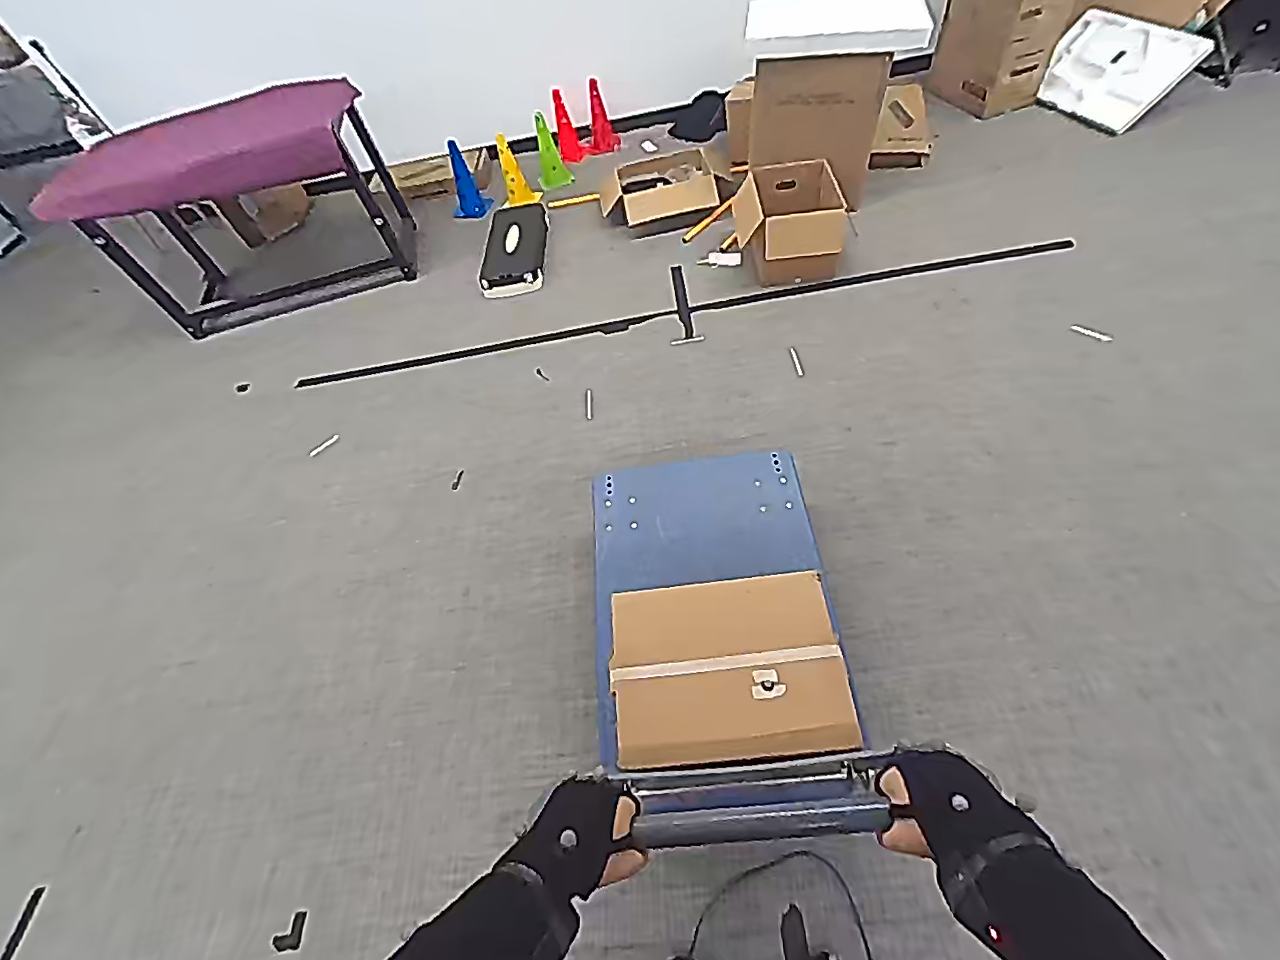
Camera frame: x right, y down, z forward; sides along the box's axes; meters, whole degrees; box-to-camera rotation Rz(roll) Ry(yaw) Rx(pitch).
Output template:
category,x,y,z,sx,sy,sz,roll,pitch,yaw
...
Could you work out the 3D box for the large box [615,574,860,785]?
category,x,y,z,sx,sy,sz,roll,pitch,yaw
large box,0.175,0.420,1.112,0.408,0.320,0.320,-8,57,3
